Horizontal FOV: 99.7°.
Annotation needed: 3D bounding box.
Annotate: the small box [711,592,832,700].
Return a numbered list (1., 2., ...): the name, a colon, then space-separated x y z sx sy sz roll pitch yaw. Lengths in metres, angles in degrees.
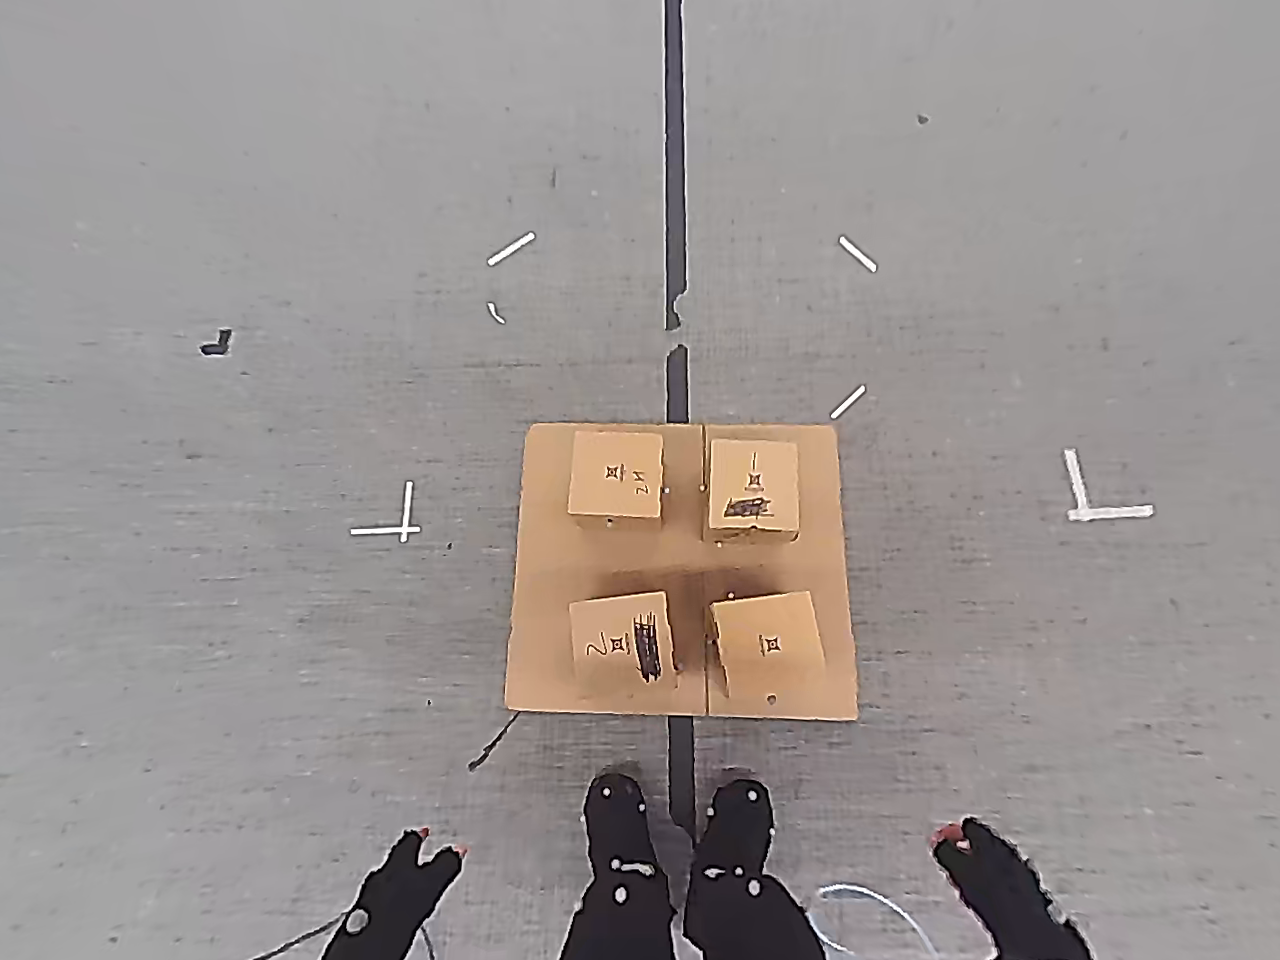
1. small box: 0.237 0.306 1.017 0.179 0.176 0.168 -9 74 2
